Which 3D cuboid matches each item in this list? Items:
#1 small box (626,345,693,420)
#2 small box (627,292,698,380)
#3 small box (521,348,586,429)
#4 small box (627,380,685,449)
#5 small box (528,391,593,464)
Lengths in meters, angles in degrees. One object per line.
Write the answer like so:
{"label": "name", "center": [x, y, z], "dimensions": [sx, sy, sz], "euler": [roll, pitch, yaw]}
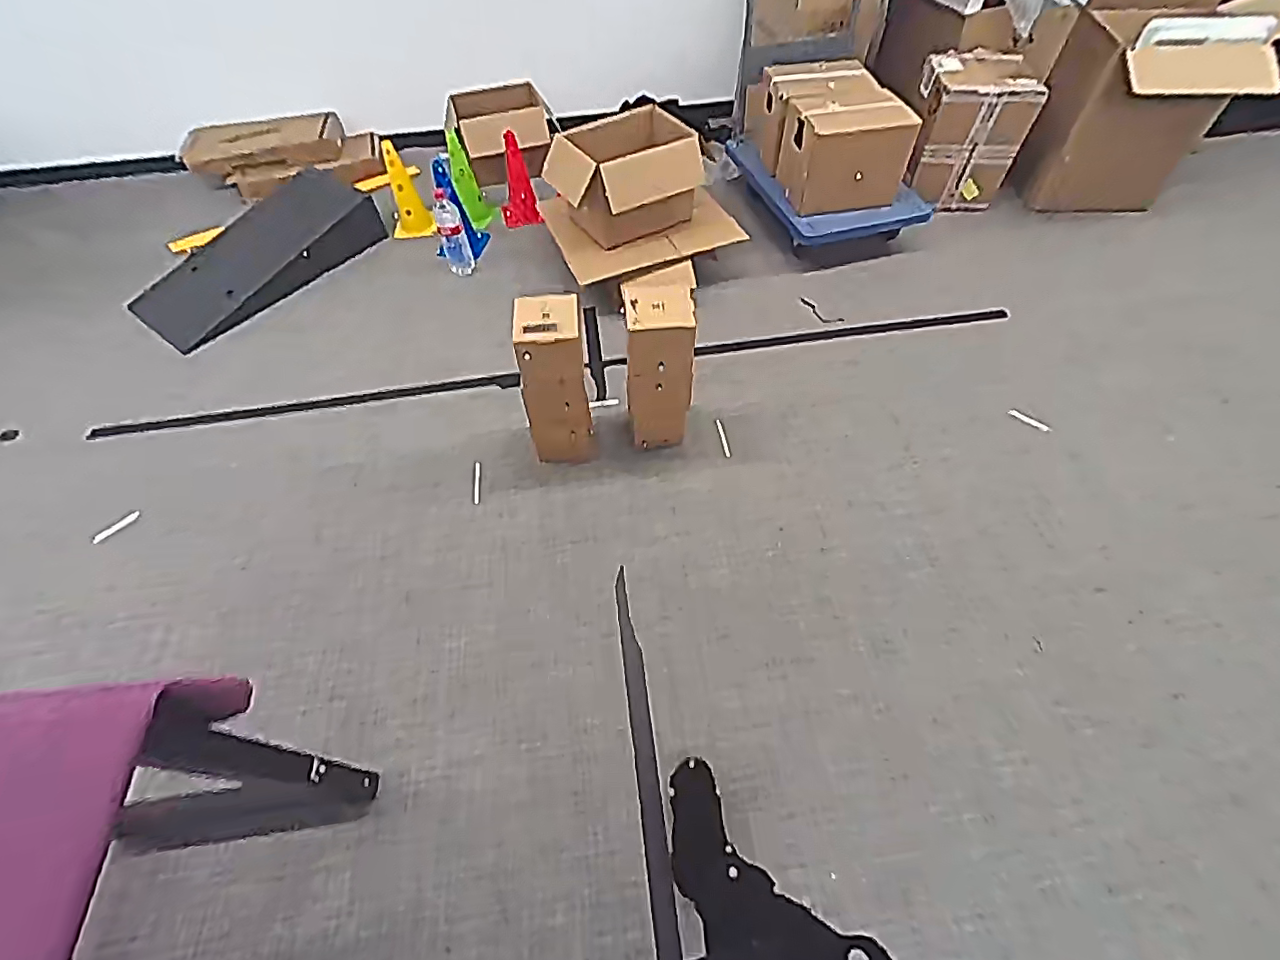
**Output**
{"label": "small box", "center": [0.056, -0.293, 1.593], "dimensions": [0.179, 0.176, 0.168], "euler": [-6, 56, -4]}
{"label": "small box", "center": [0.054, -0.384, 1.457], "dimensions": [0.179, 0.176, 0.168], "euler": [-3, 55, -2]}
{"label": "small box", "center": [-0.247, -0.262, 1.583], "dimensions": [0.168, 0.176, 0.179], "euler": [-3, 54, -3]}
{"label": "small box", "center": [0.051, -0.212, 1.738], "dimensions": [0.168, 0.176, 0.179], "euler": [-8, 55, -5]}
{"label": "small box", "center": [-0.247, -0.162, 1.711], "dimensions": [0.179, 0.176, 0.168], "euler": [-3, 55, -1]}
